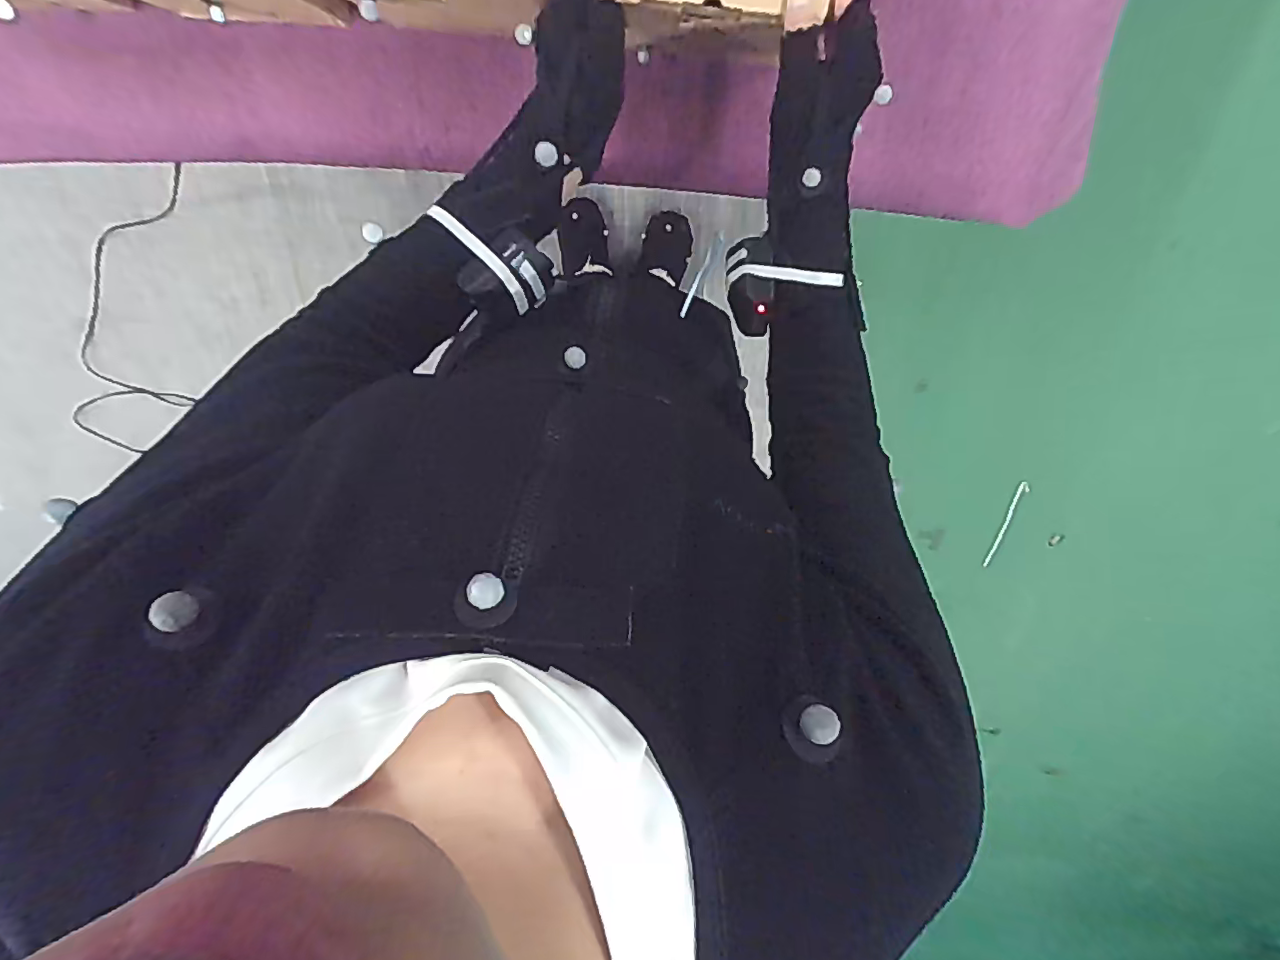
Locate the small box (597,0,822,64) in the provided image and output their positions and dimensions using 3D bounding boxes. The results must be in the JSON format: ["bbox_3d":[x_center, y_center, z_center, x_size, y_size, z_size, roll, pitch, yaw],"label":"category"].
[{"bbox_3d":[0.061,-0.450,0.419,0.168,0.176,0.179,6,118,-1],"label":"small box"}]
